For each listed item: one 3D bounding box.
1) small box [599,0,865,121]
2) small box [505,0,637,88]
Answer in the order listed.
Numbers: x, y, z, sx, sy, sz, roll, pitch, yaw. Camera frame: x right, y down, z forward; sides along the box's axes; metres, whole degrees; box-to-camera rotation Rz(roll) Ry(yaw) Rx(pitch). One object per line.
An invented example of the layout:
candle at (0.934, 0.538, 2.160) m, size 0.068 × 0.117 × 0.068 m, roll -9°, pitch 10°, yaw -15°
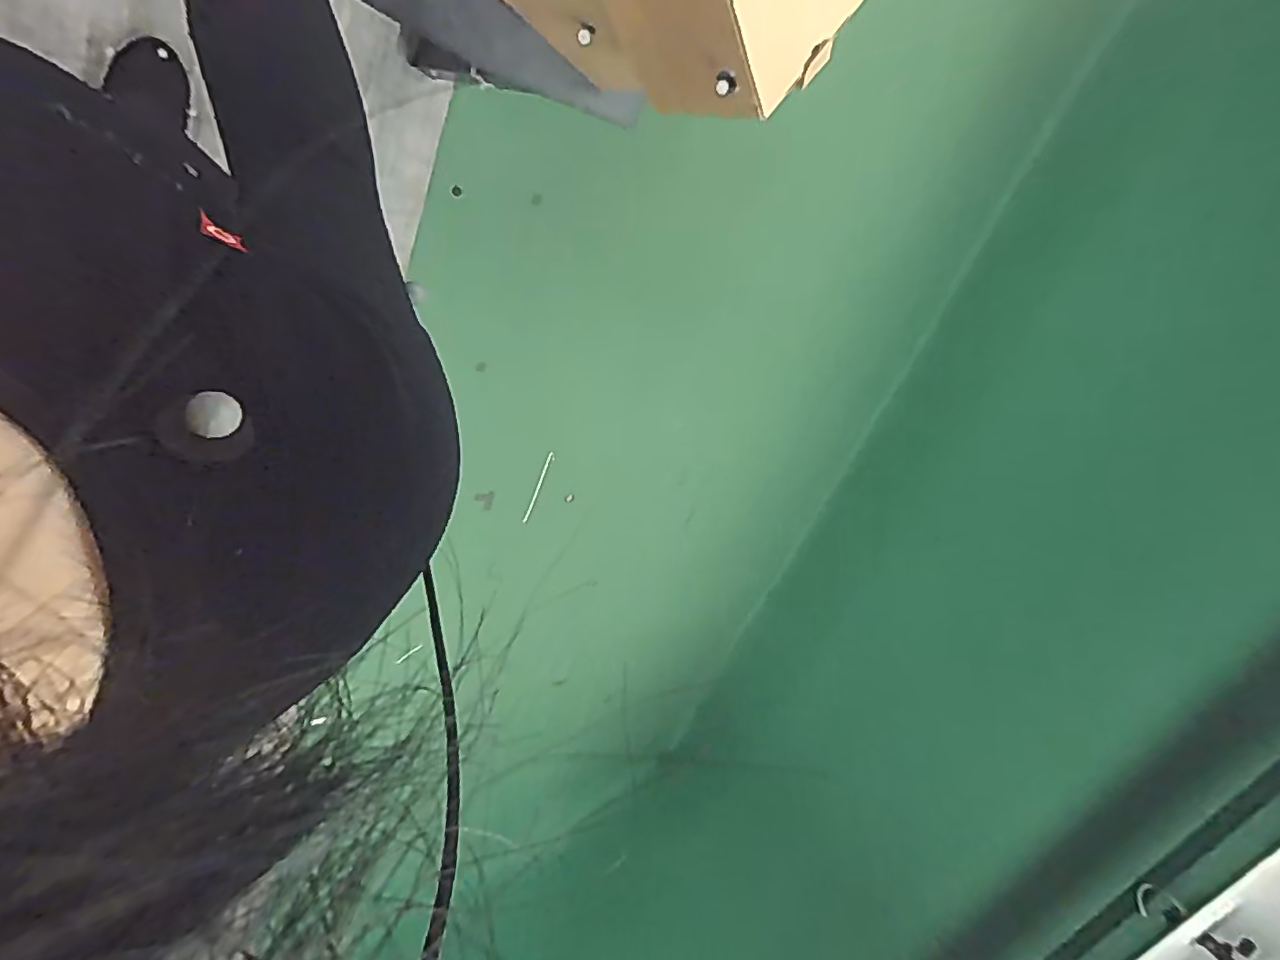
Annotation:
small box at (0.075, -0.467, 0.493) m, size 0.168 × 0.176 × 0.179 m, roll -51°, pitch 142°, yaw -3°
small box at (-0.024, -0.558, 0.587) m, size 0.179 × 0.176 × 0.168 m, roll 10°, pitch 110°, yaw -48°
